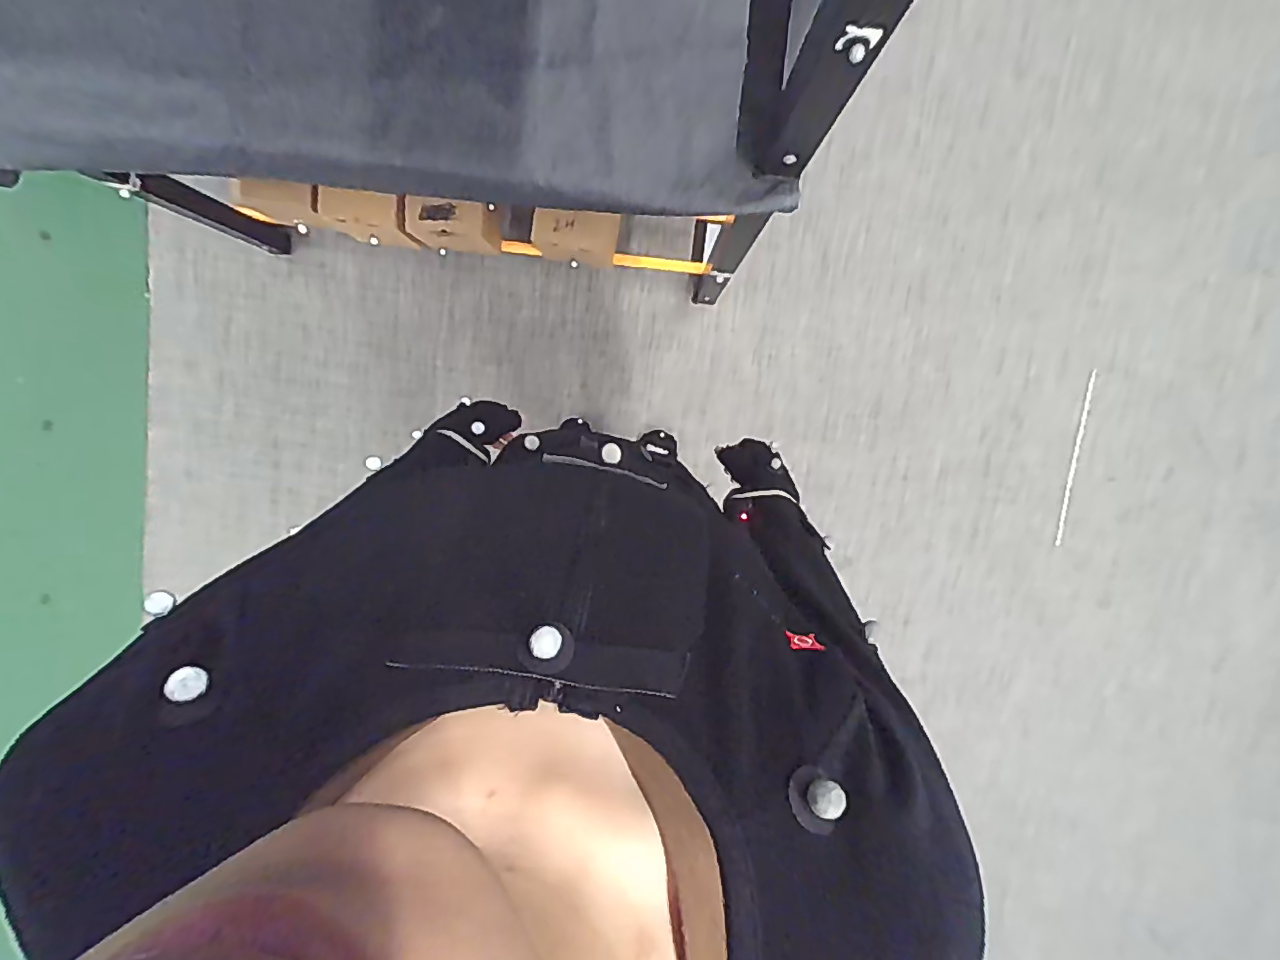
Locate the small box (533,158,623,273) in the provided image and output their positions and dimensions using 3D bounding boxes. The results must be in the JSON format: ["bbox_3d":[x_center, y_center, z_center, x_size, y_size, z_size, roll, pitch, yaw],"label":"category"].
[{"bbox_3d":[-0.135,-0.592,1.233,0.168,0.176,0.179,11,99,0],"label":"small box"}]
